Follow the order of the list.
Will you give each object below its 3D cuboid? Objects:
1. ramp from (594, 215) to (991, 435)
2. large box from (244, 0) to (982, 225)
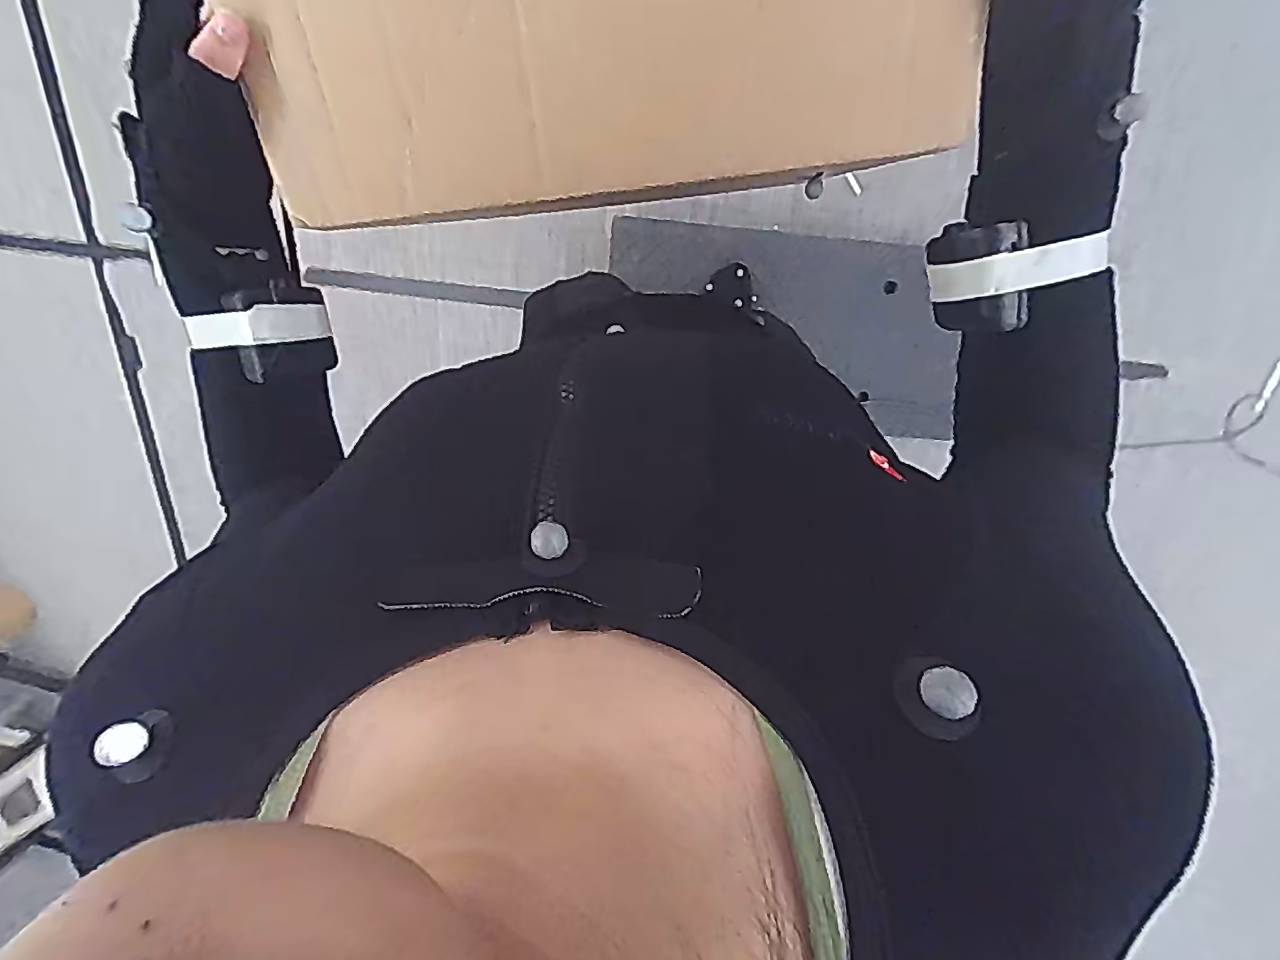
[{"bbox_3d":[0.387,-0.382,1.418,0.991,0.206,0.509,5,110,4],"label":"ramp"},{"bbox_3d":[-0.016,-0.383,0.396,0.408,0.320,0.320,-3,116,5],"label":"large box"}]
